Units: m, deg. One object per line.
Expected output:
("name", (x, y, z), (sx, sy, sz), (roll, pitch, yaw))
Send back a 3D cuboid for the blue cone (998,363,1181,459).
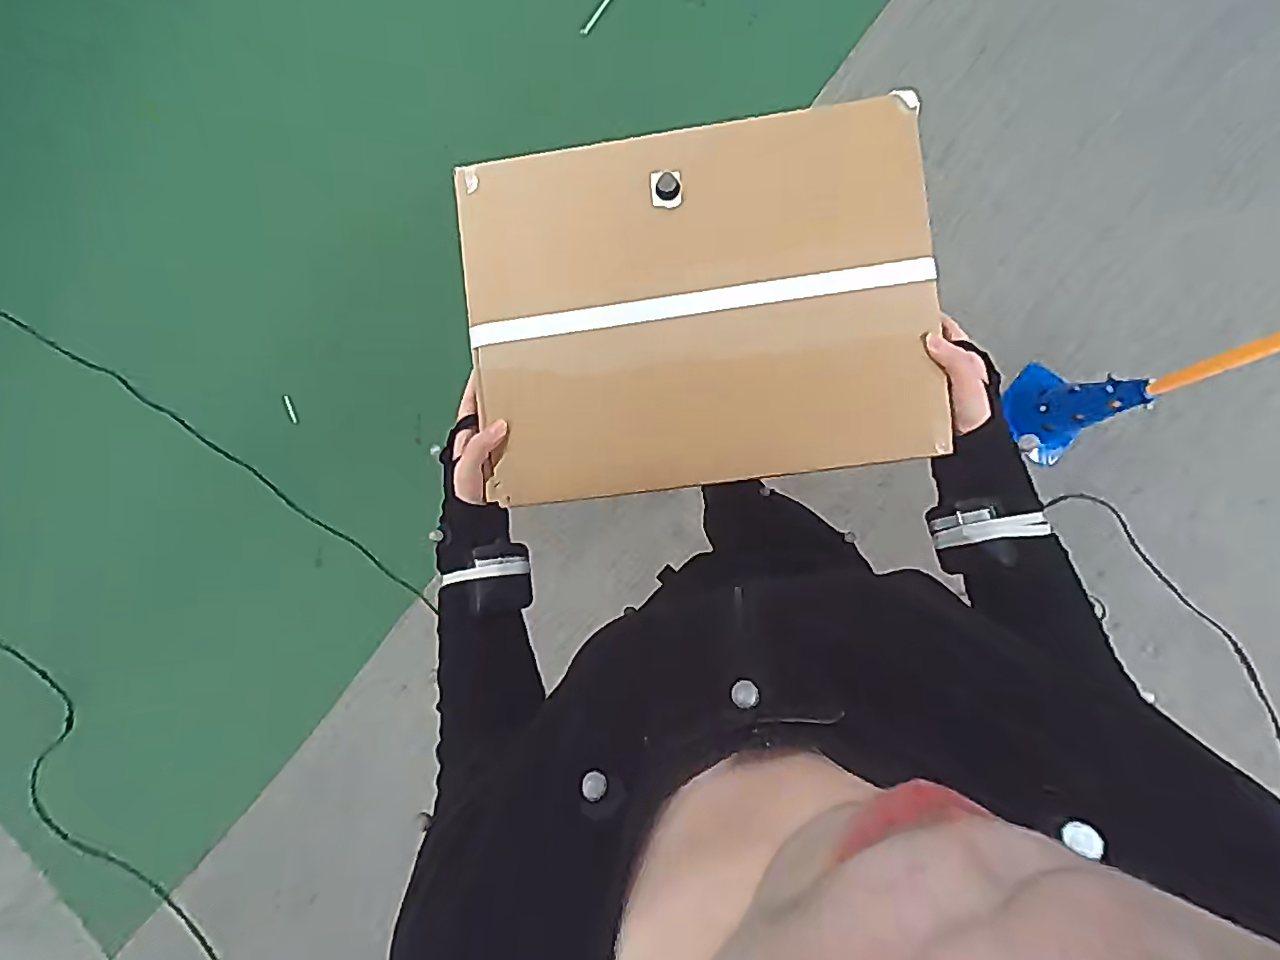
("blue cone", (0.989, -0.179, 1.178), (0.192, 0.380, 0.193), (37, 93, 6))
